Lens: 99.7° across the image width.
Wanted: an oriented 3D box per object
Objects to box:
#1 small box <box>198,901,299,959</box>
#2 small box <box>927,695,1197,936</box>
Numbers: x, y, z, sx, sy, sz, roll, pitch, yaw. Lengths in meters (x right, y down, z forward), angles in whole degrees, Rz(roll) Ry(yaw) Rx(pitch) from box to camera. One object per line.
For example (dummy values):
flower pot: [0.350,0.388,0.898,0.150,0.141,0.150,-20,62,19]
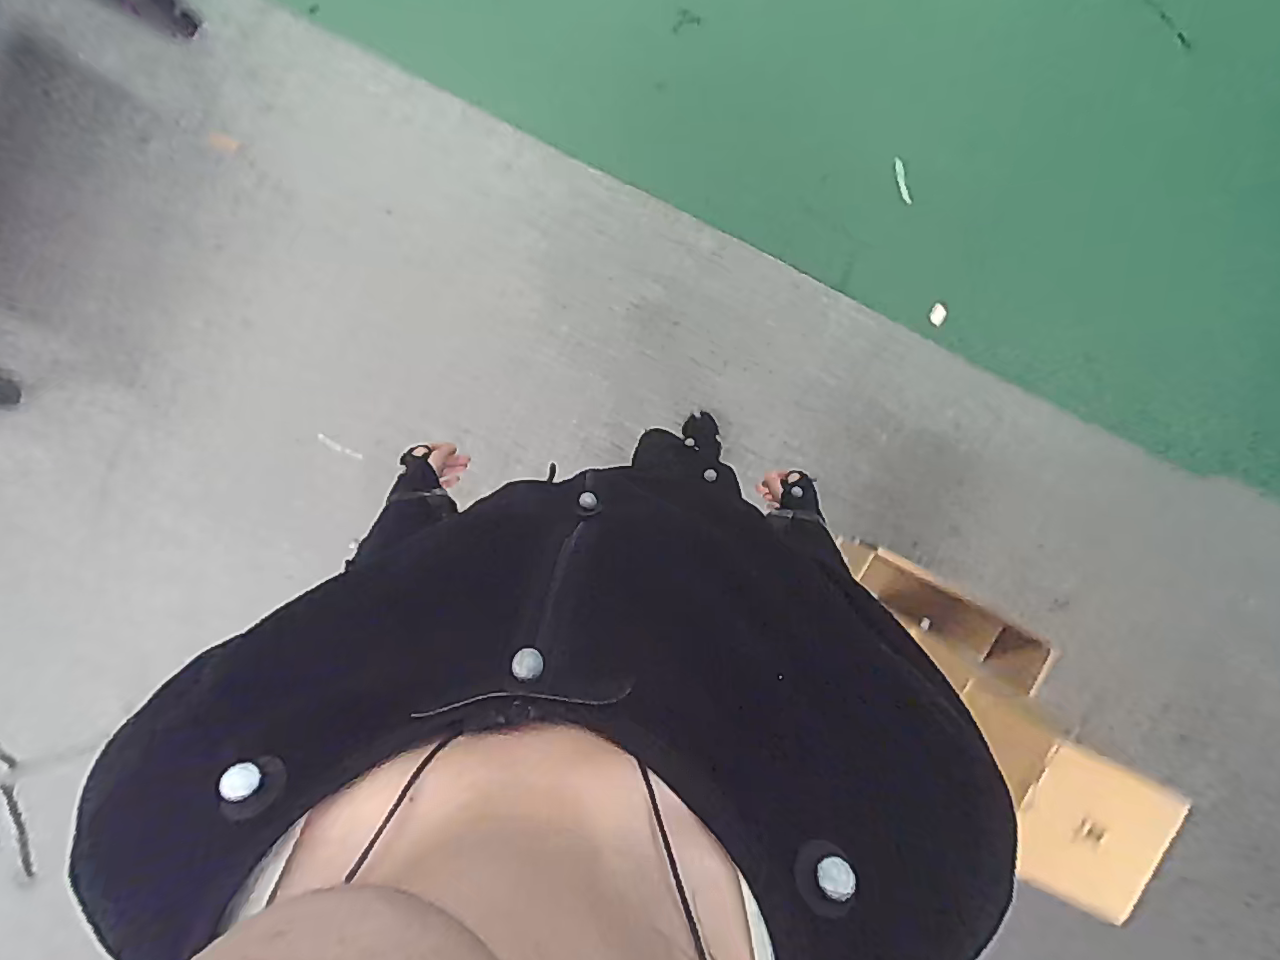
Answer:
small box: [-1.088,1.315,1.482,0.179,0.176,0.168,26,92,-1]
small box: [0.517,0.409,0.693,0.179,0.176,0.168,27,93,-1]
